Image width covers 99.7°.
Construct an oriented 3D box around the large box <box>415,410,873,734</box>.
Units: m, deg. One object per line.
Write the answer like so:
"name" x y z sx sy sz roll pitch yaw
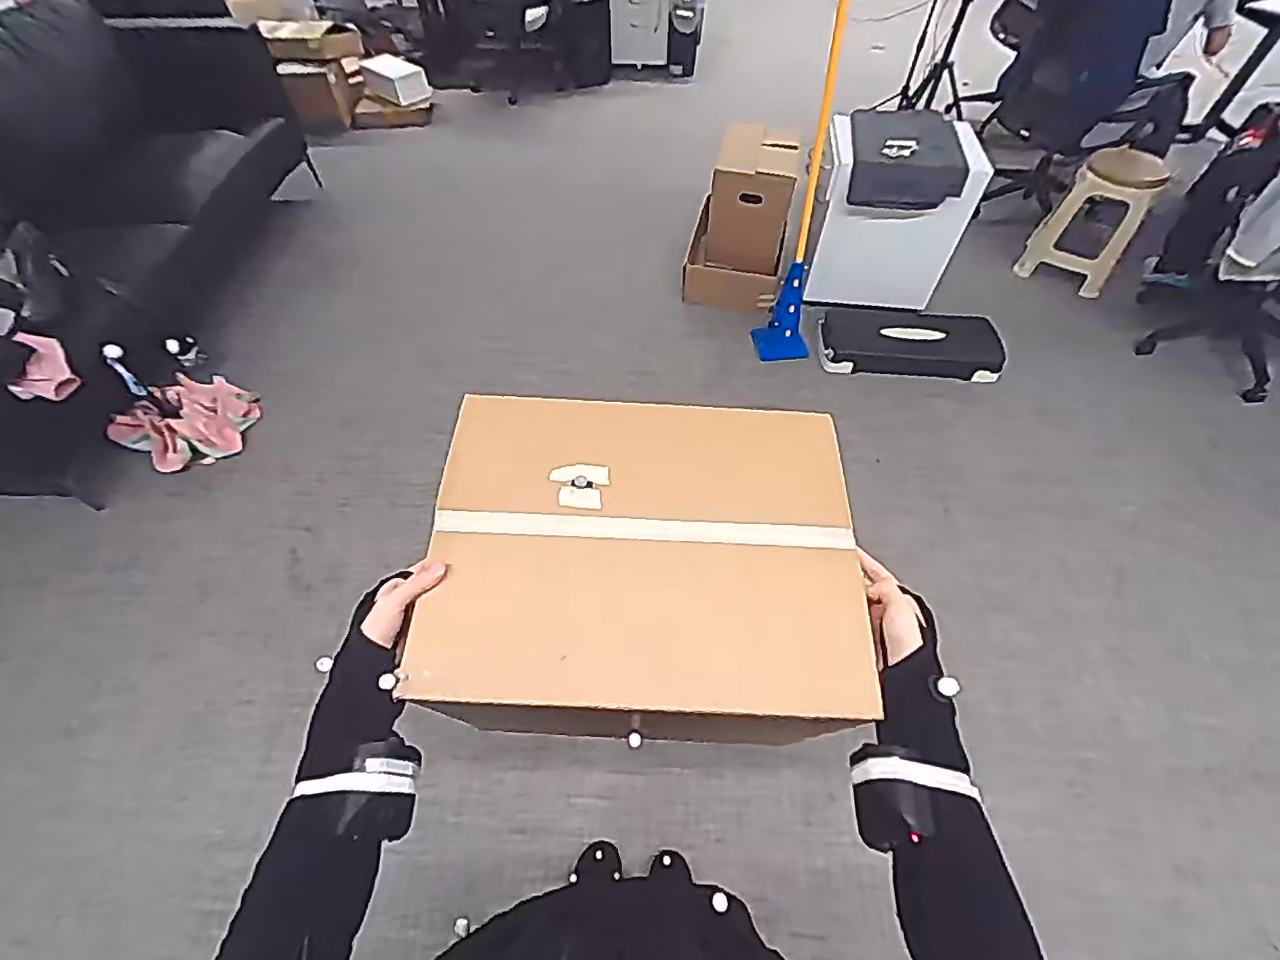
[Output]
"large box" 0.007 0.132 0.665 0.408 0.320 0.320 2 60 0
